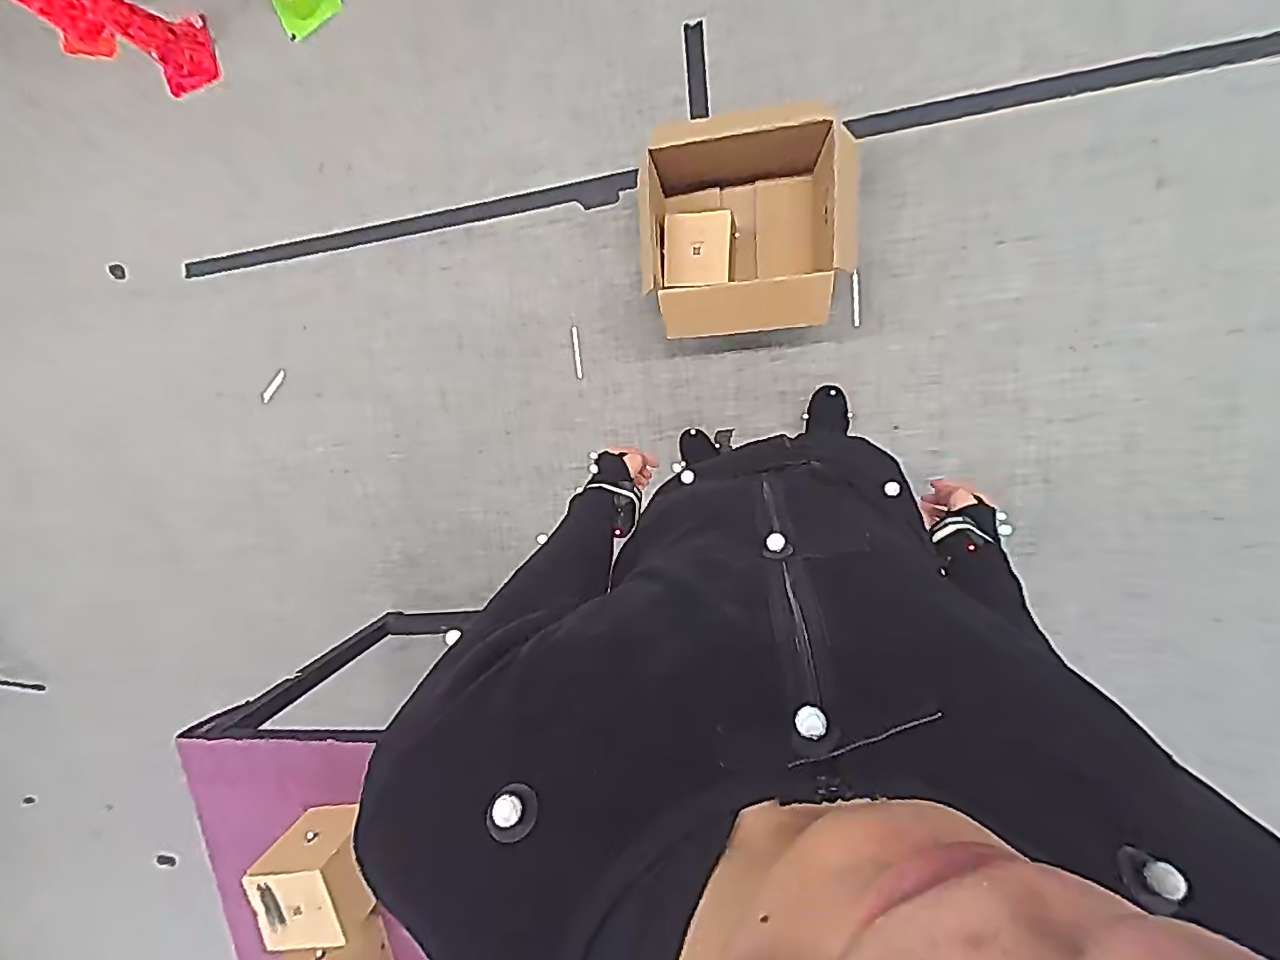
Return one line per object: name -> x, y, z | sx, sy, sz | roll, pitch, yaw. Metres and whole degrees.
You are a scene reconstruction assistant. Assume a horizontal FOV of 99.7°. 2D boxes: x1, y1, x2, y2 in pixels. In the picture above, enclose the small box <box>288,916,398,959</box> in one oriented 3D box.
small box -> -0.648, 1.074, 1.151 | 0.179, 0.176, 0.168 | -10, 98, 11
